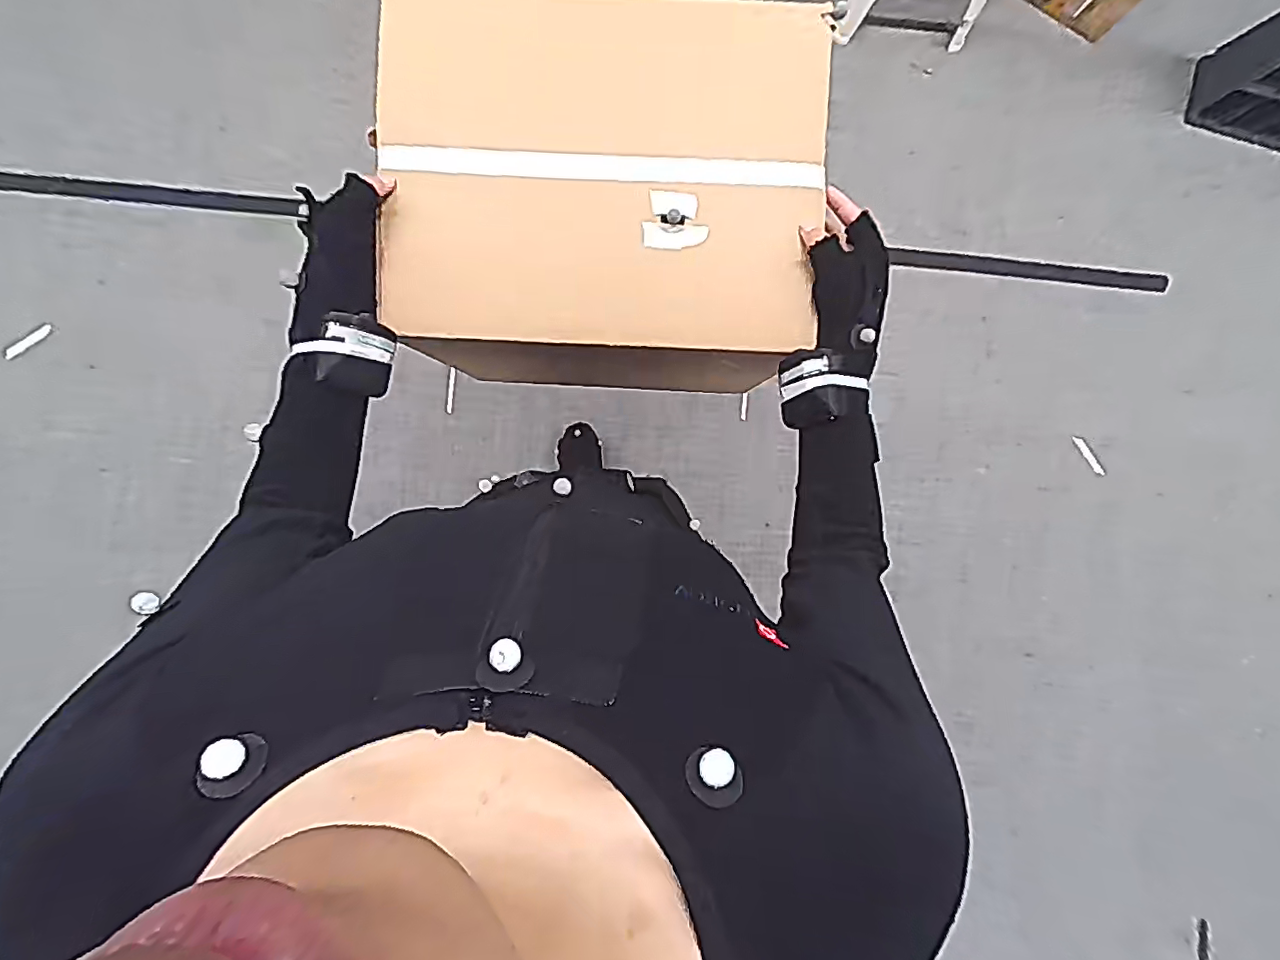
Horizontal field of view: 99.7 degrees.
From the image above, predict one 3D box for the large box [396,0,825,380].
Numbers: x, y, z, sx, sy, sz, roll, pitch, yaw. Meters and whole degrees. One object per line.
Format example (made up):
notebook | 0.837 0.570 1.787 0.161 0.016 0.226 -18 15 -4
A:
large box | -0.033 -0.300 0.656 0.408 0.320 0.320 2 94 -1
